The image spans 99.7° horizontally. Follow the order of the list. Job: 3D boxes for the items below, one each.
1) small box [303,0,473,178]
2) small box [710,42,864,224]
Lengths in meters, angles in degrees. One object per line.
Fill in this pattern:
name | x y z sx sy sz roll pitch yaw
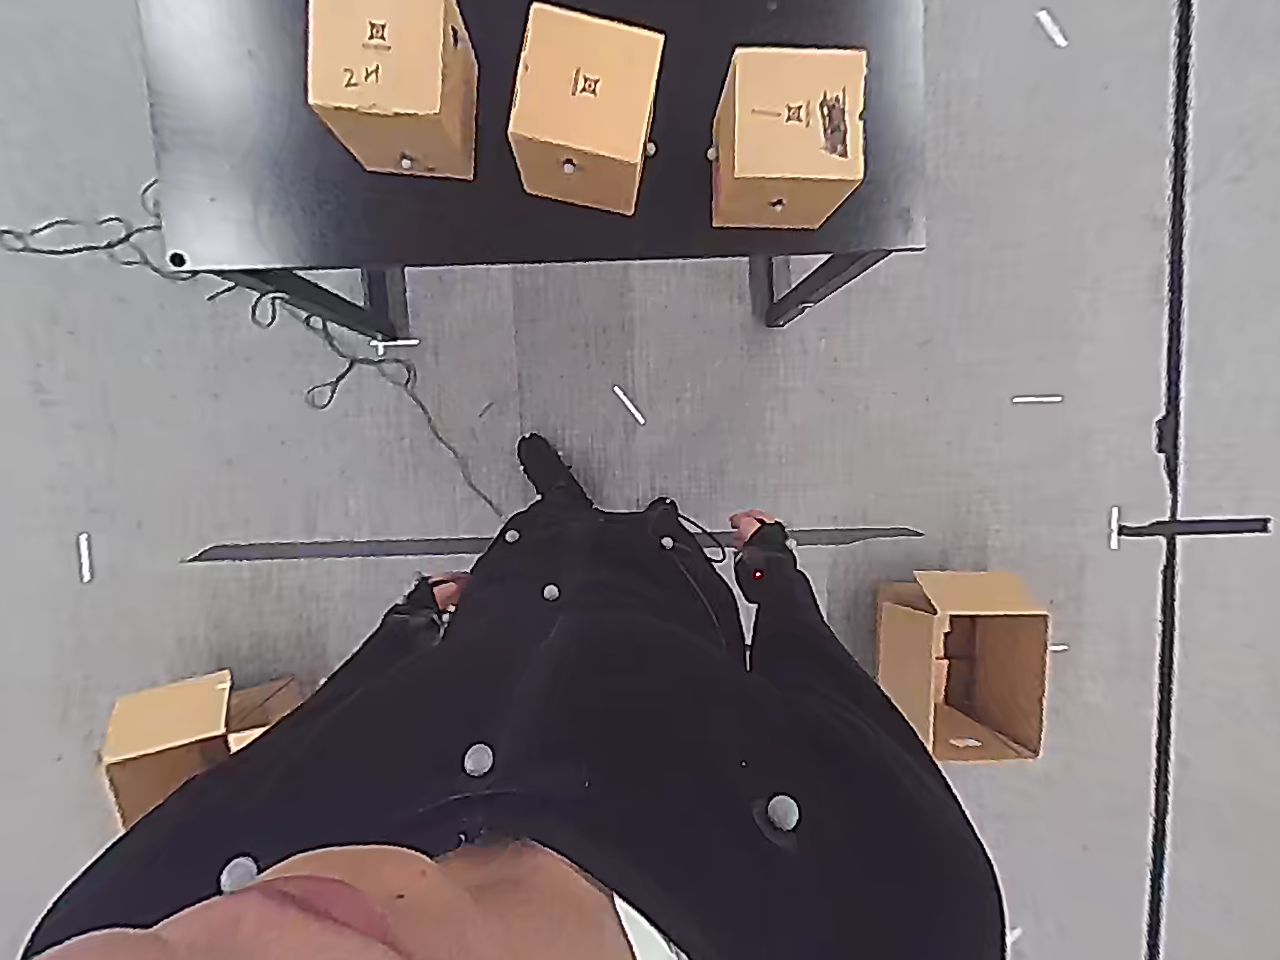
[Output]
small box | -0.336 -0.554 0.750 0.168 0.176 0.179 3 95 -3
small box | 0.202 -0.487 0.783 0.179 0.176 0.168 -1 94 -1
